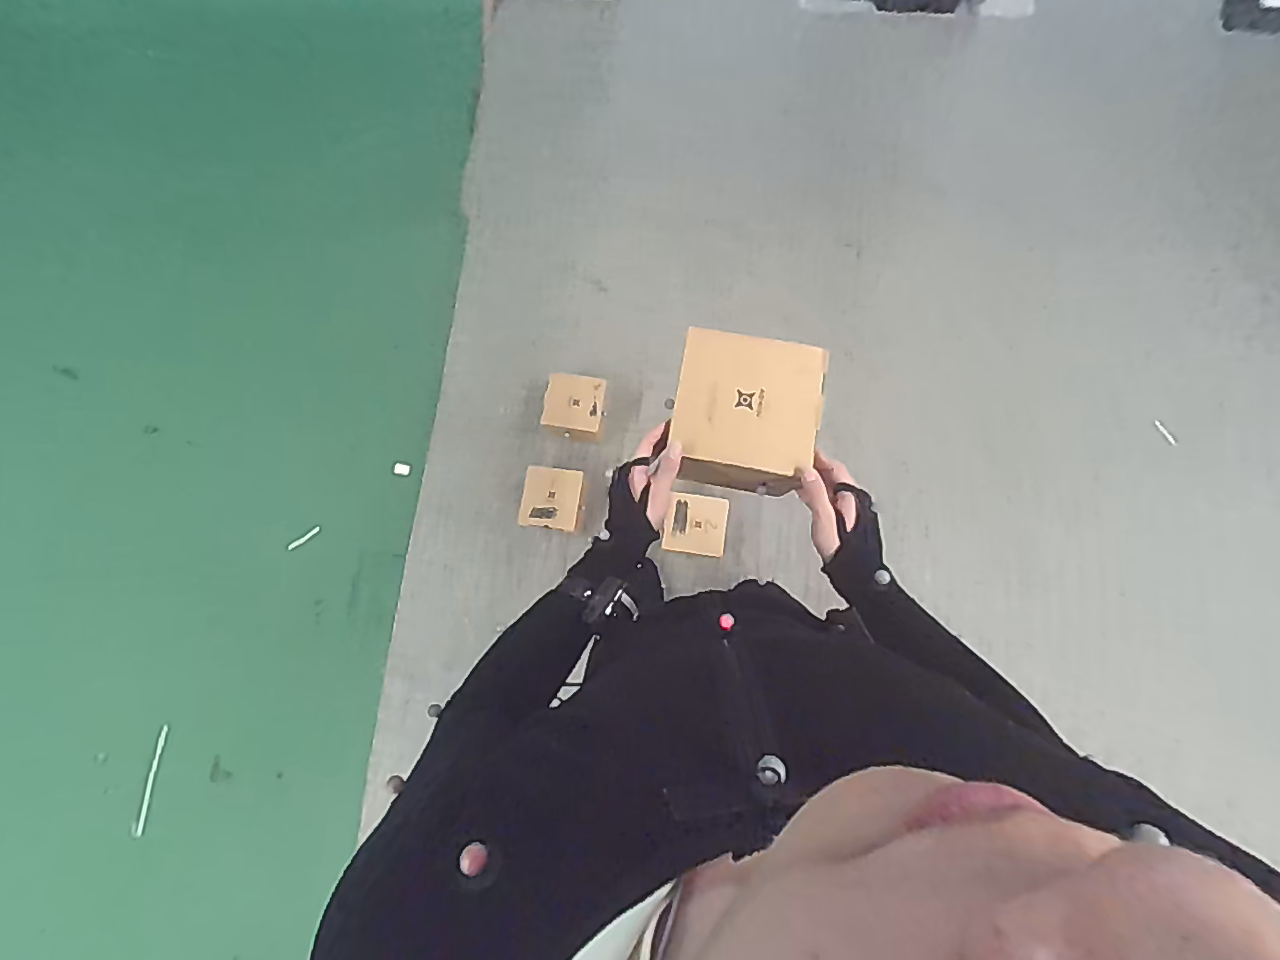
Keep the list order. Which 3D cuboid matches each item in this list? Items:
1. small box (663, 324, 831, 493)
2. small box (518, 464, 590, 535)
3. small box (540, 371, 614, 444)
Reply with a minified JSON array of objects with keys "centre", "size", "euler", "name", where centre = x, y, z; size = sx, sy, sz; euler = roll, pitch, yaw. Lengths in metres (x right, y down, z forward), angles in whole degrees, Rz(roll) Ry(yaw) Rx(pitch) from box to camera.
[{"centre":[0.131,-0.083,0.715],"size":[0.179,0.176,0.168],"euler":[10,81,4],"name":"small box"},{"centre":[-0.248,0.063,1.605],"size":[0.168,0.176,0.179],"euler":[8,80,3],"name":"small box"},{"centre":[-0.186,-0.216,1.651],"size":[0.179,0.176,0.168],"euler":[9,81,4],"name":"small box"}]
